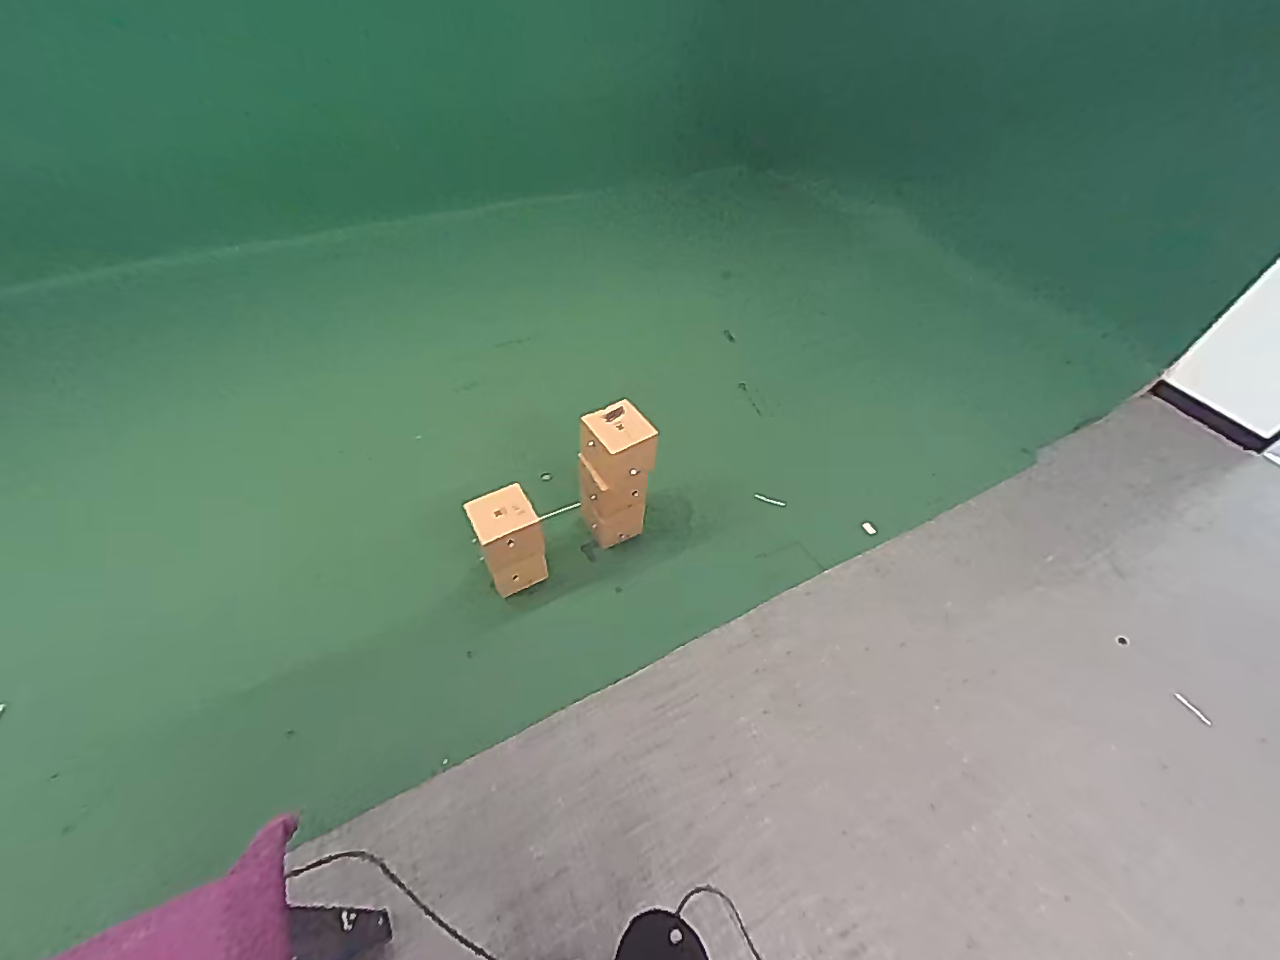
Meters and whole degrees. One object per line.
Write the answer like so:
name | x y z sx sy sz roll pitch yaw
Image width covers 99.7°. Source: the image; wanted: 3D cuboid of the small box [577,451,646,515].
small box | -0.095 -0.007 1.779 0.168 0.176 0.179 -22 55 -22

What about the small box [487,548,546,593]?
small box | -0.417 0.245 1.765 0.168 0.176 0.179 -23 55 -20

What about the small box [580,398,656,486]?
small box | -0.072 -0.116 1.658 0.168 0.176 0.179 -27 59 -24

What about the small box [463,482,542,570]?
small box | -0.411 0.144 1.635 0.179 0.176 0.168 -23 55 -21
